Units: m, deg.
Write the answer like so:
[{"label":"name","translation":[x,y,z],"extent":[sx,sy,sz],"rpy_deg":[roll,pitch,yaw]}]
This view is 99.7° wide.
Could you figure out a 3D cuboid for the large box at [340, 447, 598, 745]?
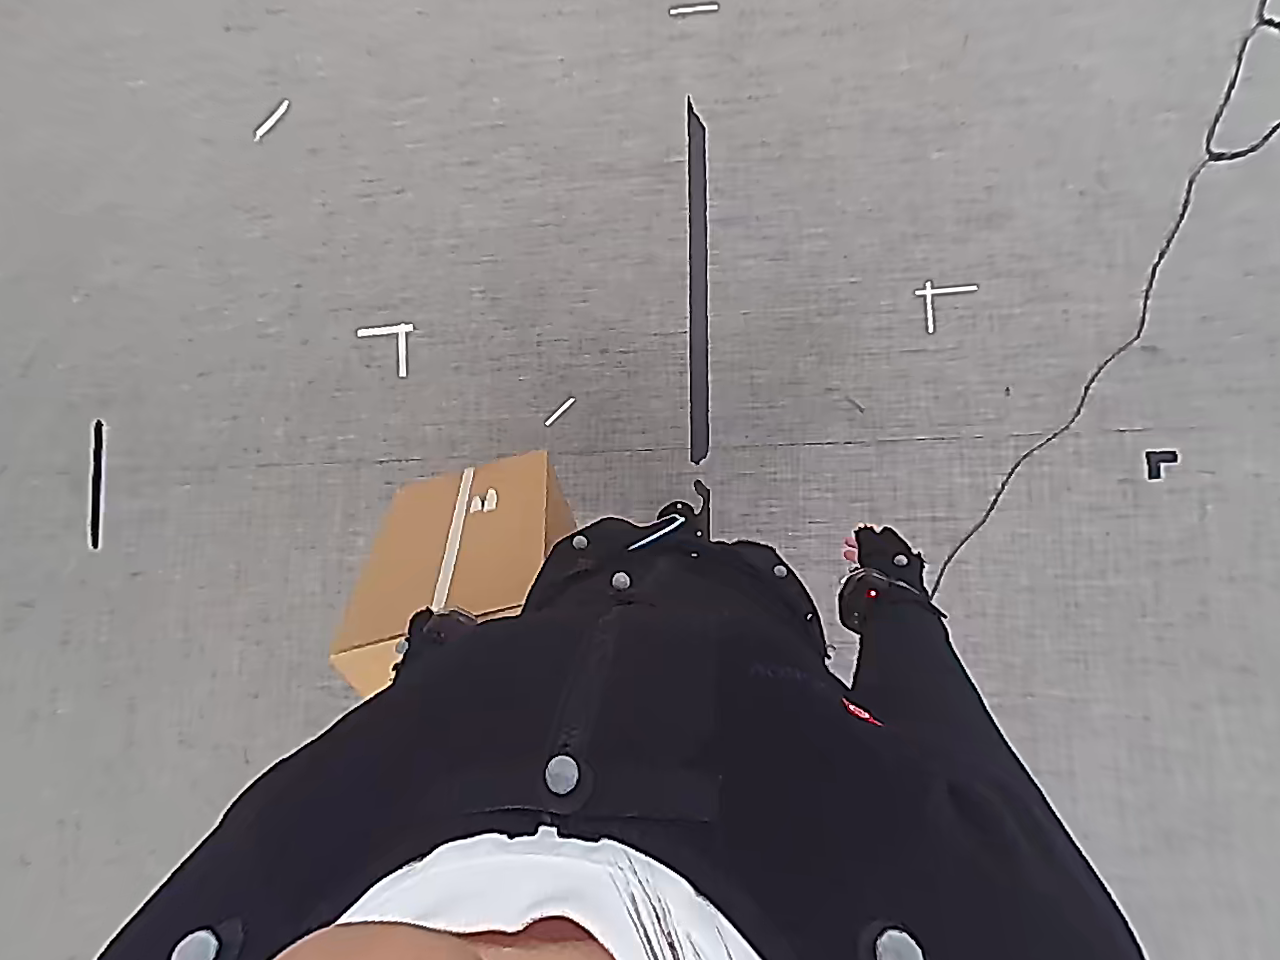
[{"label":"large box","translation":[-0.274,0.200,1.009],"extent":[0.320,0.408,0.320],"rpy_deg":[-13,125,2]}]
